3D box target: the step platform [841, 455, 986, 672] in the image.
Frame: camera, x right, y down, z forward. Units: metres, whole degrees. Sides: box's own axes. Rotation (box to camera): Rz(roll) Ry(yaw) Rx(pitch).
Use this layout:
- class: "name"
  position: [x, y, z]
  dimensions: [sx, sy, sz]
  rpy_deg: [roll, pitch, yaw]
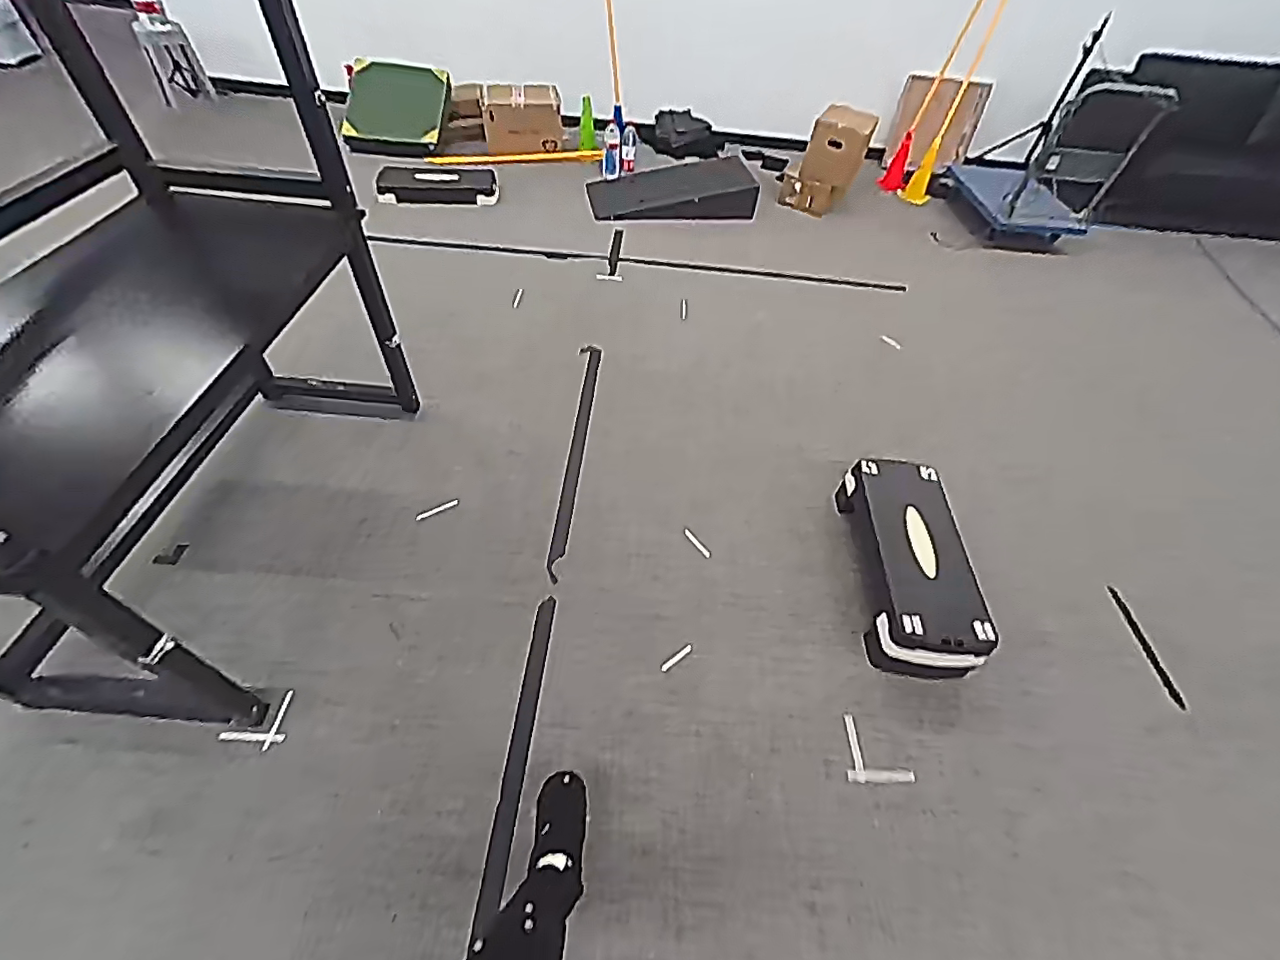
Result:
- class: "step platform"
  position: [0.828, 0.226, 1.695]
  dimensions: [0.286, 0.204, 0.684]
  rpy_deg: [10, 49, 3]
